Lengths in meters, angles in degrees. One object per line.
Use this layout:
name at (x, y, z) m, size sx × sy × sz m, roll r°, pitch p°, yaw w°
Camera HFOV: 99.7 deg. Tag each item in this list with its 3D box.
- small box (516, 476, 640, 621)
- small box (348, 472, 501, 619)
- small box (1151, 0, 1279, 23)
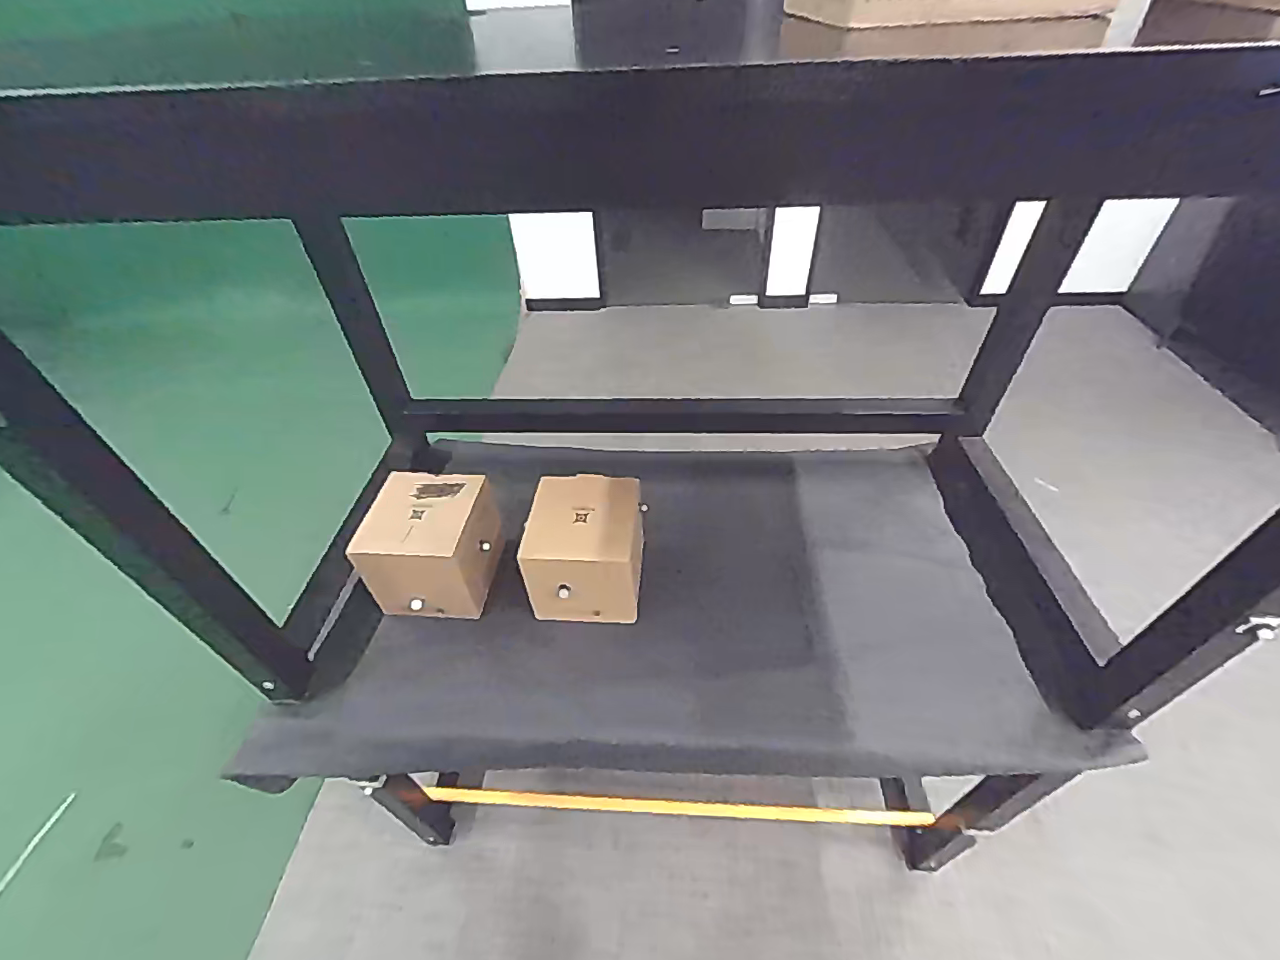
small box at (-0.089, 0.114, 0.887) m, size 0.168 × 0.176 × 0.179 m, roll 1°, pitch 43°, yaw 4°
small box at (-0.342, 0.108, 0.902) m, size 0.168 × 0.176 × 0.179 m, roll 1°, pitch 44°, yaw 5°
small box at (0.445, -0.358, 0.290) m, size 0.168 × 0.176 × 0.179 m, roll 9°, pitch 45°, yaw 12°
